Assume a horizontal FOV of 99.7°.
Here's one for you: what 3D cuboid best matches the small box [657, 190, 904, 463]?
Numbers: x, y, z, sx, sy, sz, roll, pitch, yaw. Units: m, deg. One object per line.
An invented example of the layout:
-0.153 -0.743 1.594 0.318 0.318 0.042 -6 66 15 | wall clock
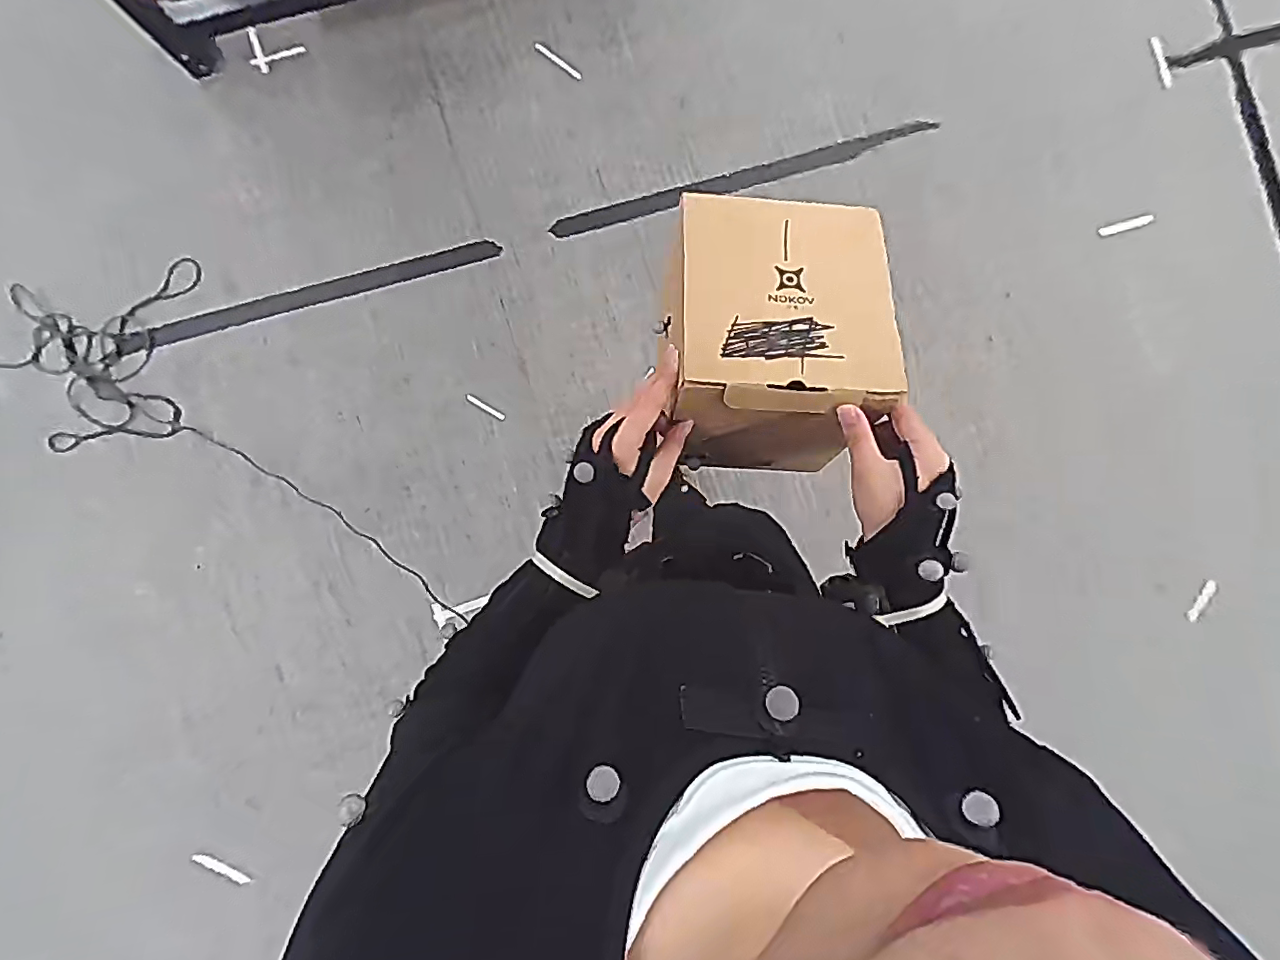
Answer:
0.106 -0.123 0.487 0.168 0.176 0.179 2 71 -4 | small box
